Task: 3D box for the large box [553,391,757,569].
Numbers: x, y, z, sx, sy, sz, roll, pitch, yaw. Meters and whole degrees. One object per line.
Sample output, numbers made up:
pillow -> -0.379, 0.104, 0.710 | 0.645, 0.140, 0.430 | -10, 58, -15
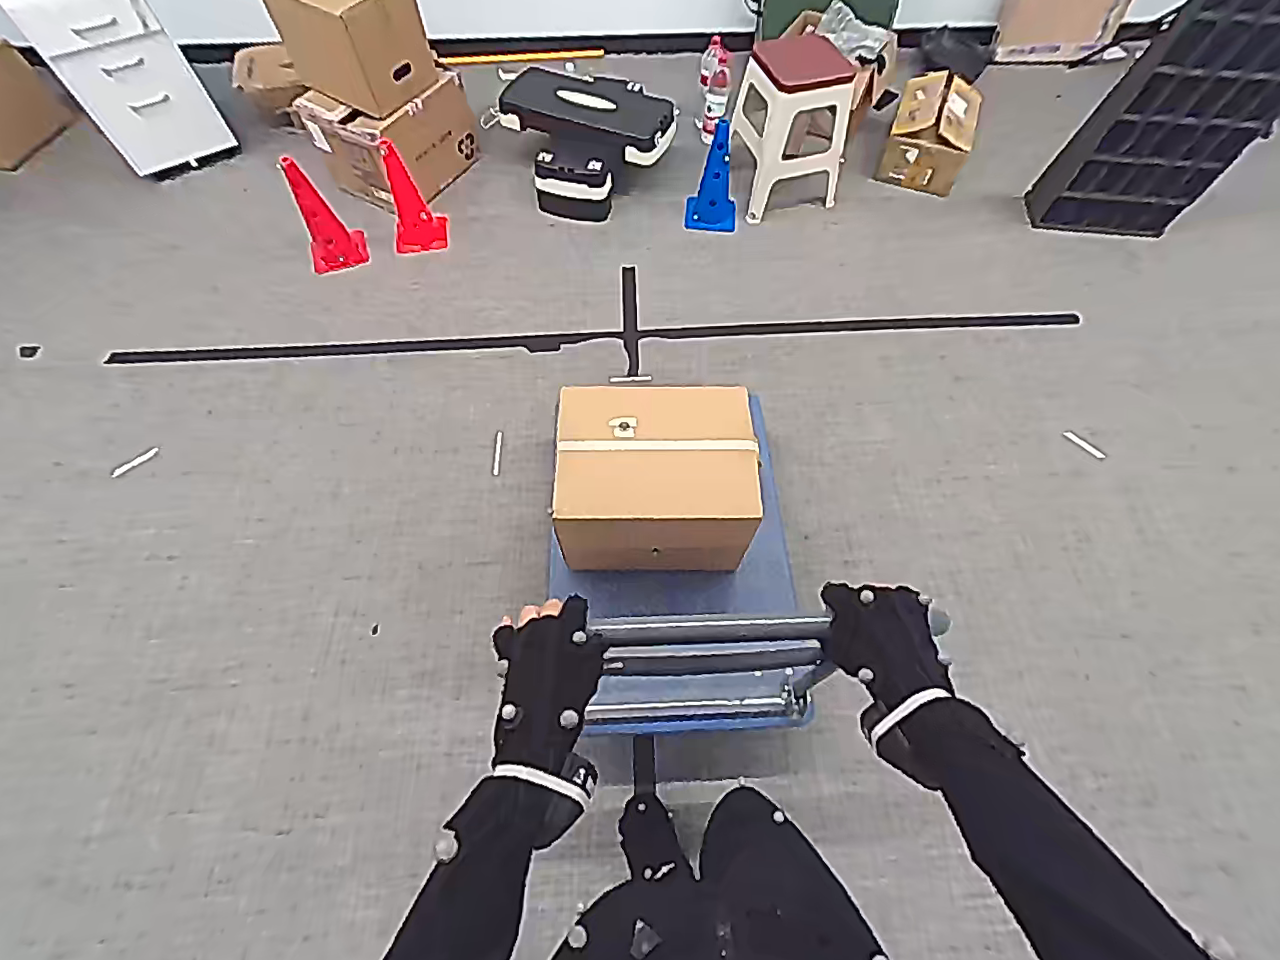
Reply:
large box -> 0.030, 0.013, 1.243 | 0.408, 0.320, 0.320 | -1, 62, 0
